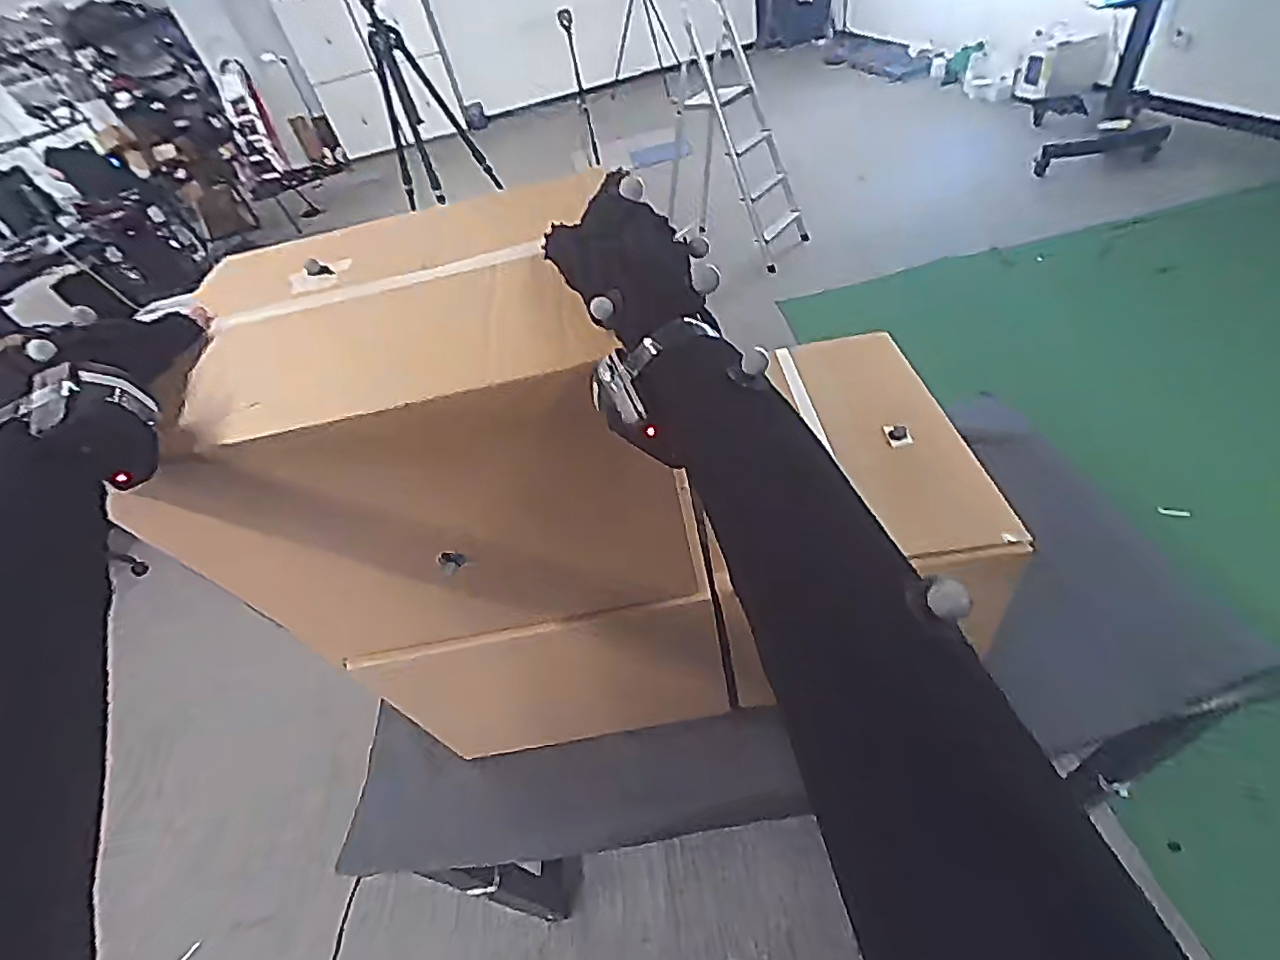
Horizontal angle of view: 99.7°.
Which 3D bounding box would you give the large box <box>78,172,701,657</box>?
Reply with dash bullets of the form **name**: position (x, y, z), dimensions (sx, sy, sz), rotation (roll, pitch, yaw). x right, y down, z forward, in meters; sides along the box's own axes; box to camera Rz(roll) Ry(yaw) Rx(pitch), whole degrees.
- **large box**: position (-0.176, -0.052, 0.560), dimensions (0.408, 0.320, 0.320), rotation (-13, 48, 4)
